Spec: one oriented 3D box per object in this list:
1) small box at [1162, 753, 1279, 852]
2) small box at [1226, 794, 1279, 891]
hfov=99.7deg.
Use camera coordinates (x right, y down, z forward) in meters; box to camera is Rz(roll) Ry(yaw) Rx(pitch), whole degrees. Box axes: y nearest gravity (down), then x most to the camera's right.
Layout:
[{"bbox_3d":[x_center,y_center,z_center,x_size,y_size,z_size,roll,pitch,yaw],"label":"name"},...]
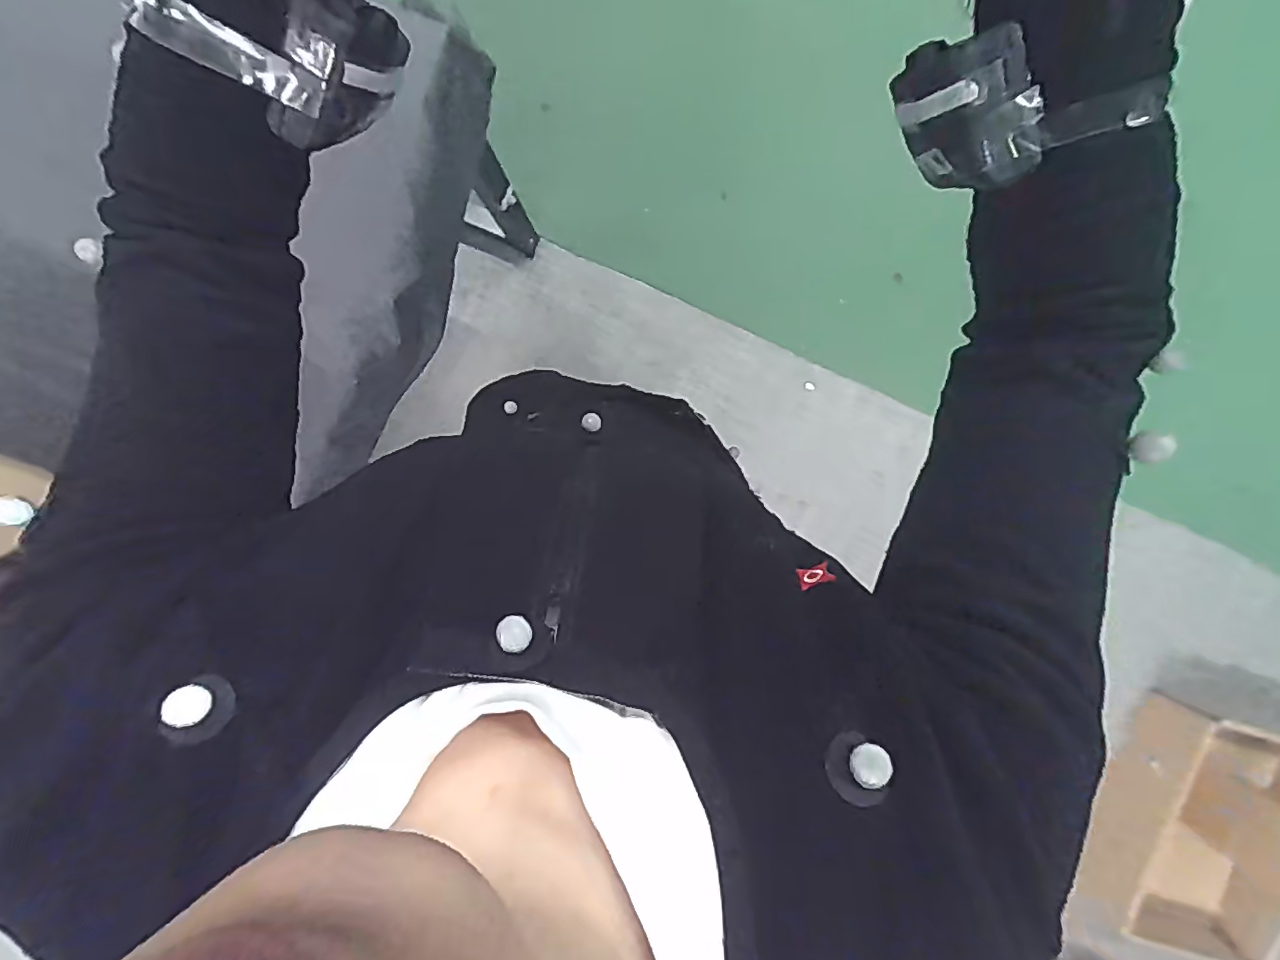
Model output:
[{"bbox_3d":[1.546,0.860,1.417,0.168,0.176,0.179,24,98,-2],"label":"small box"},{"bbox_3d":[1.547,0.878,1.253,0.168,0.176,0.179,23,98,-2],"label":"small box"}]
